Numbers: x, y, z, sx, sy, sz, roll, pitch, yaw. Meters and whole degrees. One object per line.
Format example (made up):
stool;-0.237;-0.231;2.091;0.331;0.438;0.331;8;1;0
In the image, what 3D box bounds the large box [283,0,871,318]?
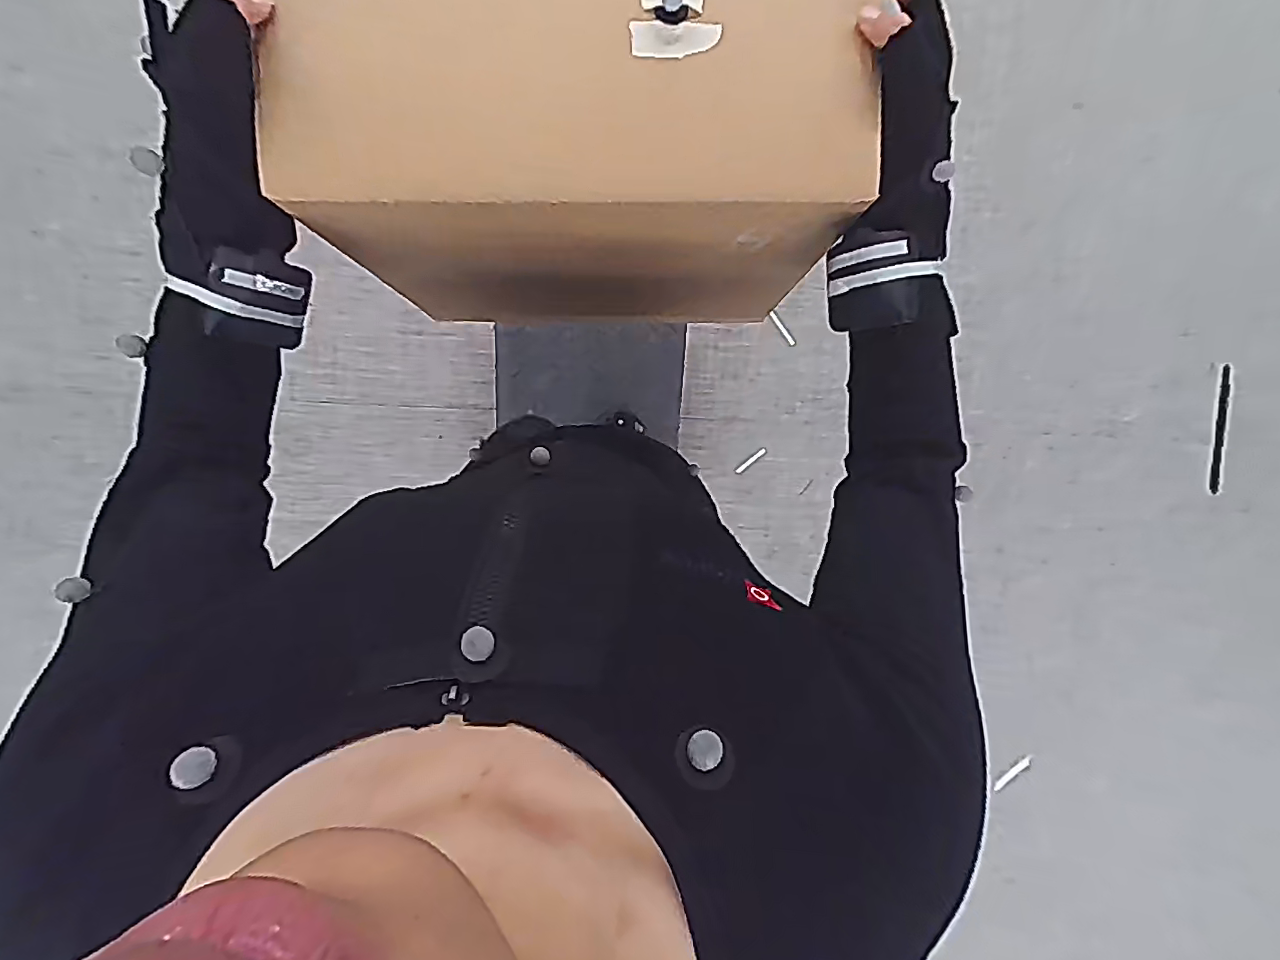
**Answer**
large box;-0.045;-0.353;0.515;0.408;0.320;0.320;-1;92;-1
